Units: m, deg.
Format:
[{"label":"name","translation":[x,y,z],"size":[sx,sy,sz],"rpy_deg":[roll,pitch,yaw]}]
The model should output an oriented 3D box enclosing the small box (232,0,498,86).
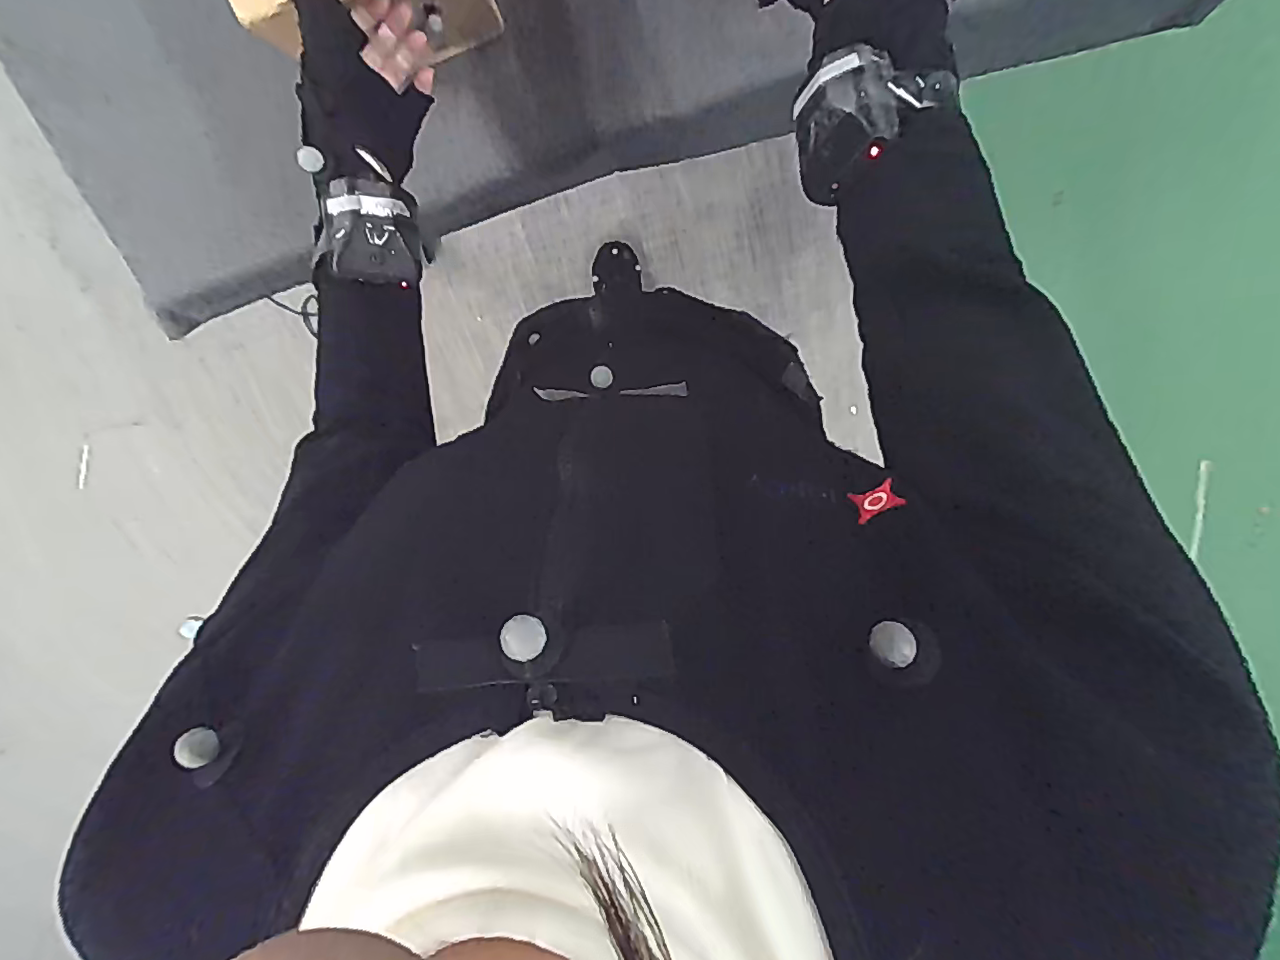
[{"label":"small box","translation":[-0.234,-0.450,0.428],"size":[0.168,0.176,0.179],"rpy_deg":[-18,109,6]}]
